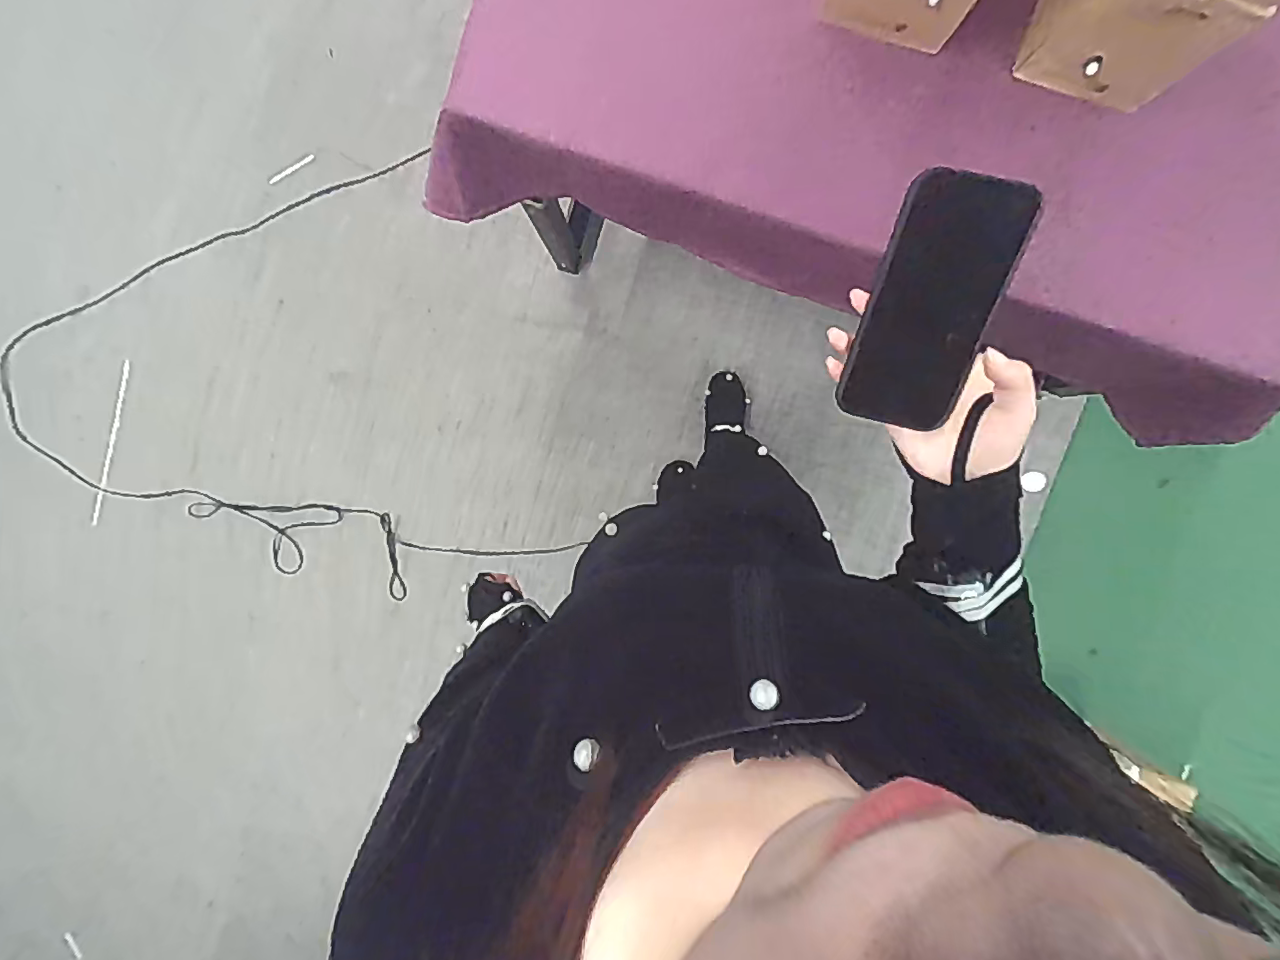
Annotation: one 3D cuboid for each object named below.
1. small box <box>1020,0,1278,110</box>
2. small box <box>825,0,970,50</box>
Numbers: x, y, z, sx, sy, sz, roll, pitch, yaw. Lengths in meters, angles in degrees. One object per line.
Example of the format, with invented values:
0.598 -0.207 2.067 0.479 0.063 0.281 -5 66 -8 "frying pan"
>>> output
0.584 -0.577 0.615 0.168 0.176 0.179 18 96 0 "small box"
0.328 -0.649 0.616 0.168 0.176 0.179 18 94 0 "small box"
